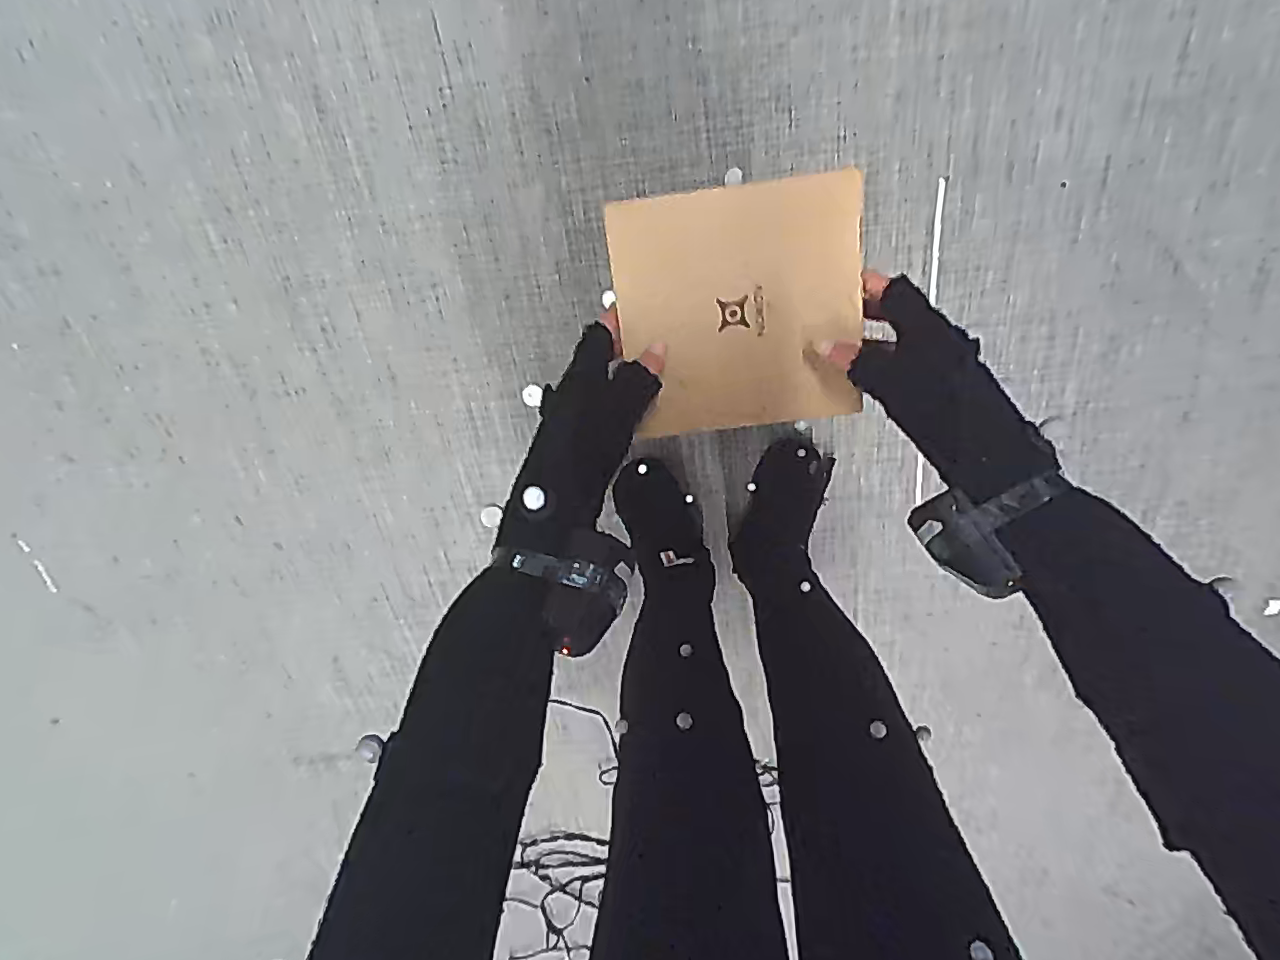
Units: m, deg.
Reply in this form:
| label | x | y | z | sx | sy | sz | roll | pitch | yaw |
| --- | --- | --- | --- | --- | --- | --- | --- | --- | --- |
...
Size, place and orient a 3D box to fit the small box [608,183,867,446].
| label | x | y | z | sx | sy | sz | roll | pitch | yaw |
| --- | --- | --- | --- | --- | --- | --- | --- | --- | --- |
| small box | 0.075 | -0.133 | 0.463 | 0.179 | 0.176 | 0.168 | -7 | 106 | 2 |
